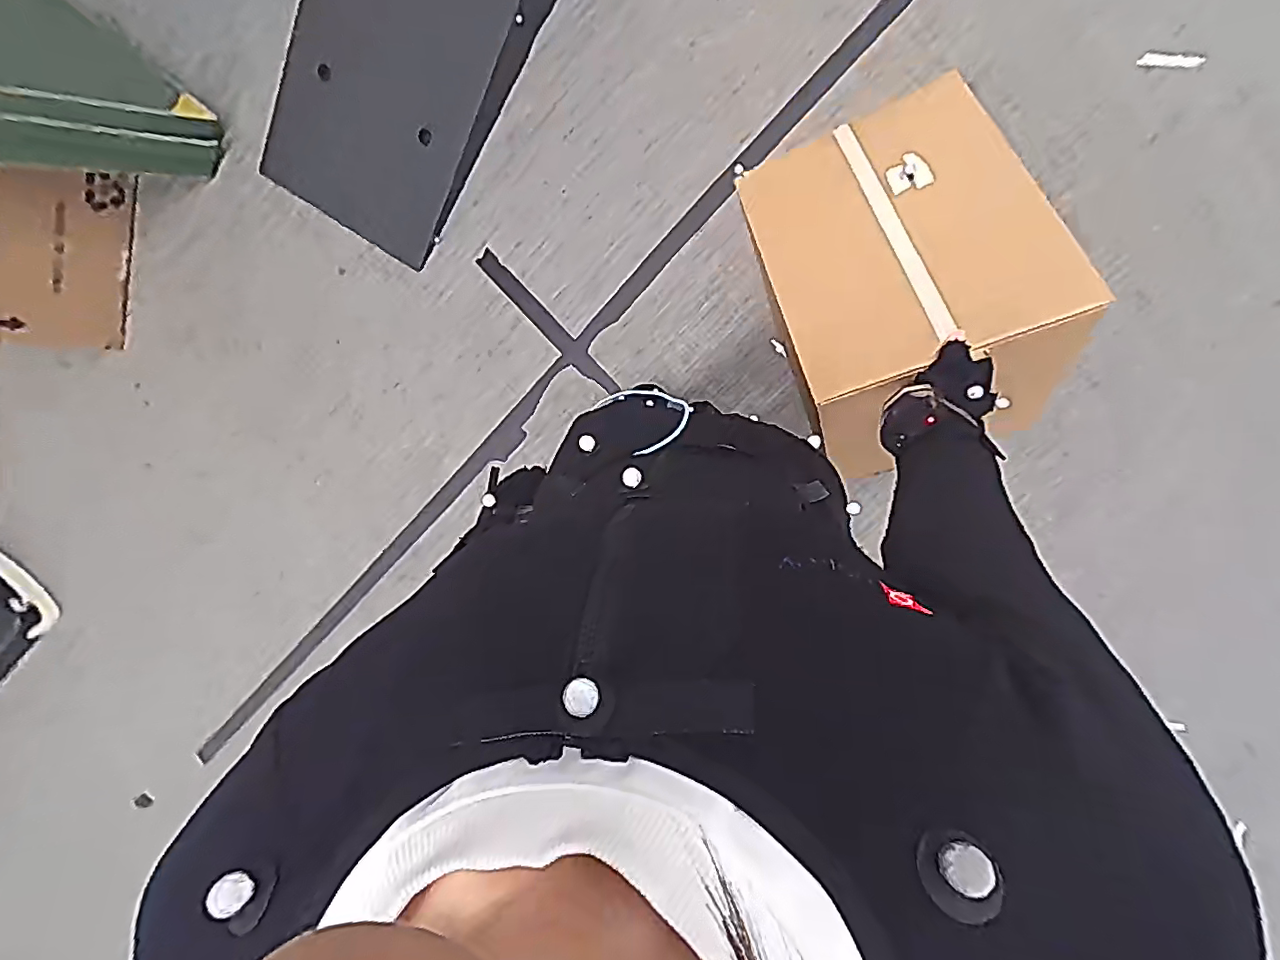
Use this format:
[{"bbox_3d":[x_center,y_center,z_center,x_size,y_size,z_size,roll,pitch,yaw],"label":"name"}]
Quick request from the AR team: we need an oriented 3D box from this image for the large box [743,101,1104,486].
[{"bbox_3d":[0.386,-0.257,0.834,0.320,0.320,0.408,-18,63,15],"label":"large box"}]
